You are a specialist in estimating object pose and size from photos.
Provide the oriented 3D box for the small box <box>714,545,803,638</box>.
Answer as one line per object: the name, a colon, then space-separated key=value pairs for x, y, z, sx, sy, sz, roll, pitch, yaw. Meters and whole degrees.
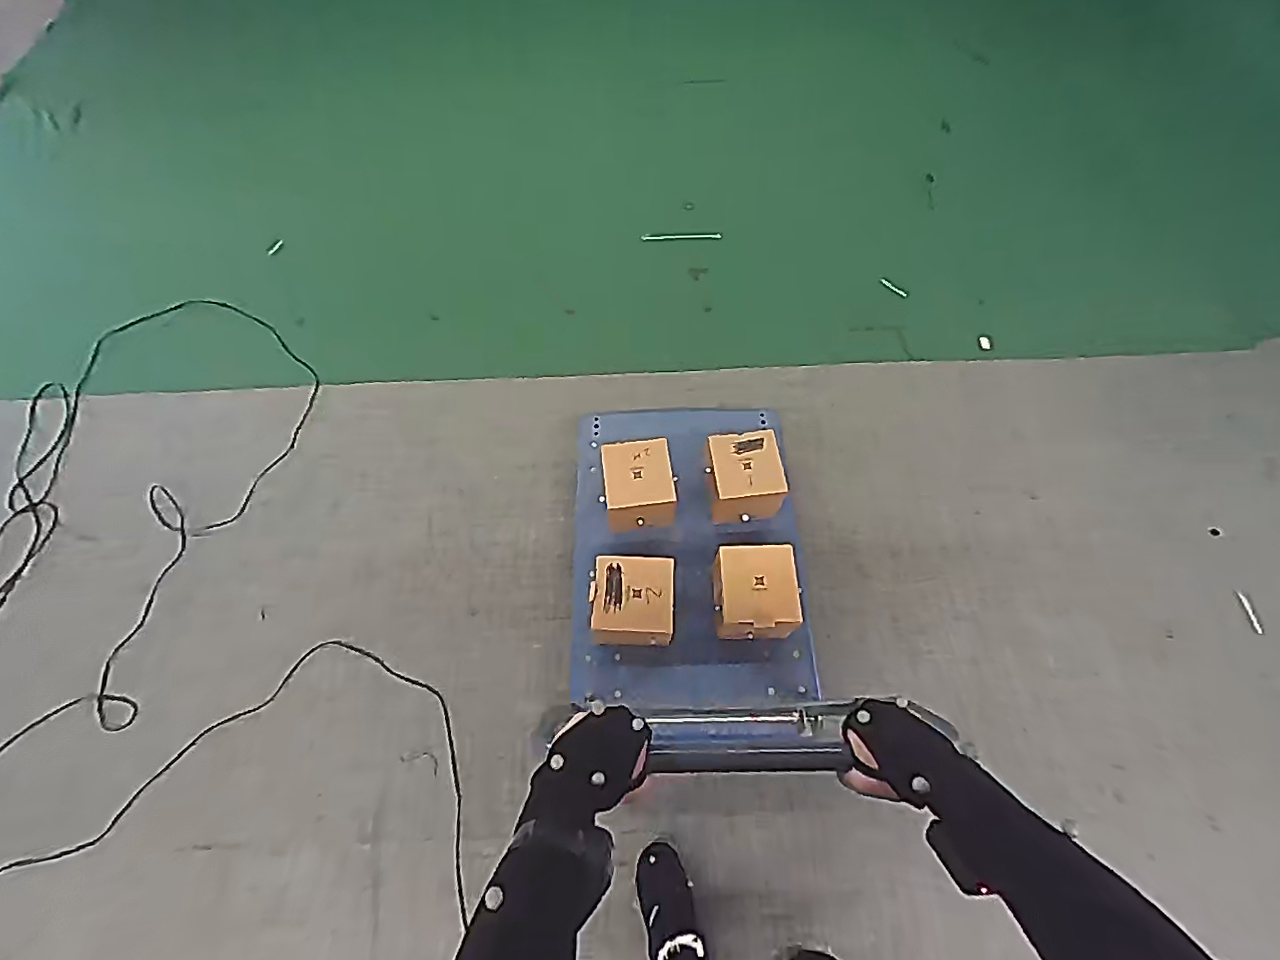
small box: x=0.265 y=0.262 z=1.252 sx=0.168 sy=0.176 sz=0.179 roll=-1 pitch=64 yaw=1

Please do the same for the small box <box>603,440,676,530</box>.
small box: x=-0.002 y=0.019 z=1.375 sx=0.168 sy=0.176 sz=0.179 roll=-6 pitch=64 yaw=-3

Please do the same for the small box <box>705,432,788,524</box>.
small box: x=0.263 y=-0.002 z=1.381 sx=0.168 sy=0.176 sz=0.179 roll=-6 pitch=65 yaw=-1
